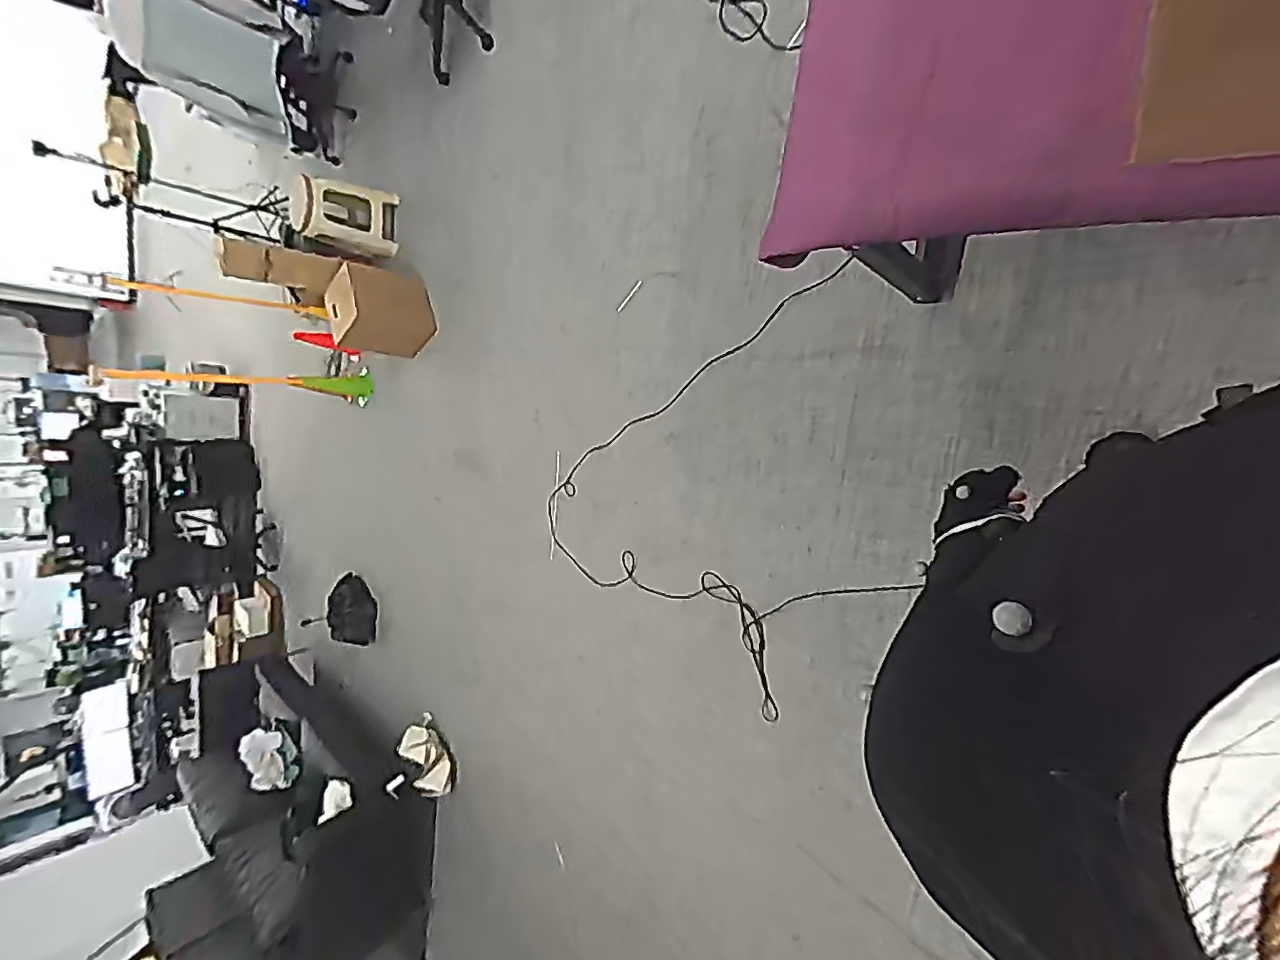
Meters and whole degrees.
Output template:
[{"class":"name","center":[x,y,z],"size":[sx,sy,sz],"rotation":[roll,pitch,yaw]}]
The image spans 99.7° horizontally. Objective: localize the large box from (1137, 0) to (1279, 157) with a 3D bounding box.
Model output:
[{"class":"large box","center":[0.578,-0.489,0.332],"size":[0.320,0.320,0.408],"rotation":[19,104,38]}]
